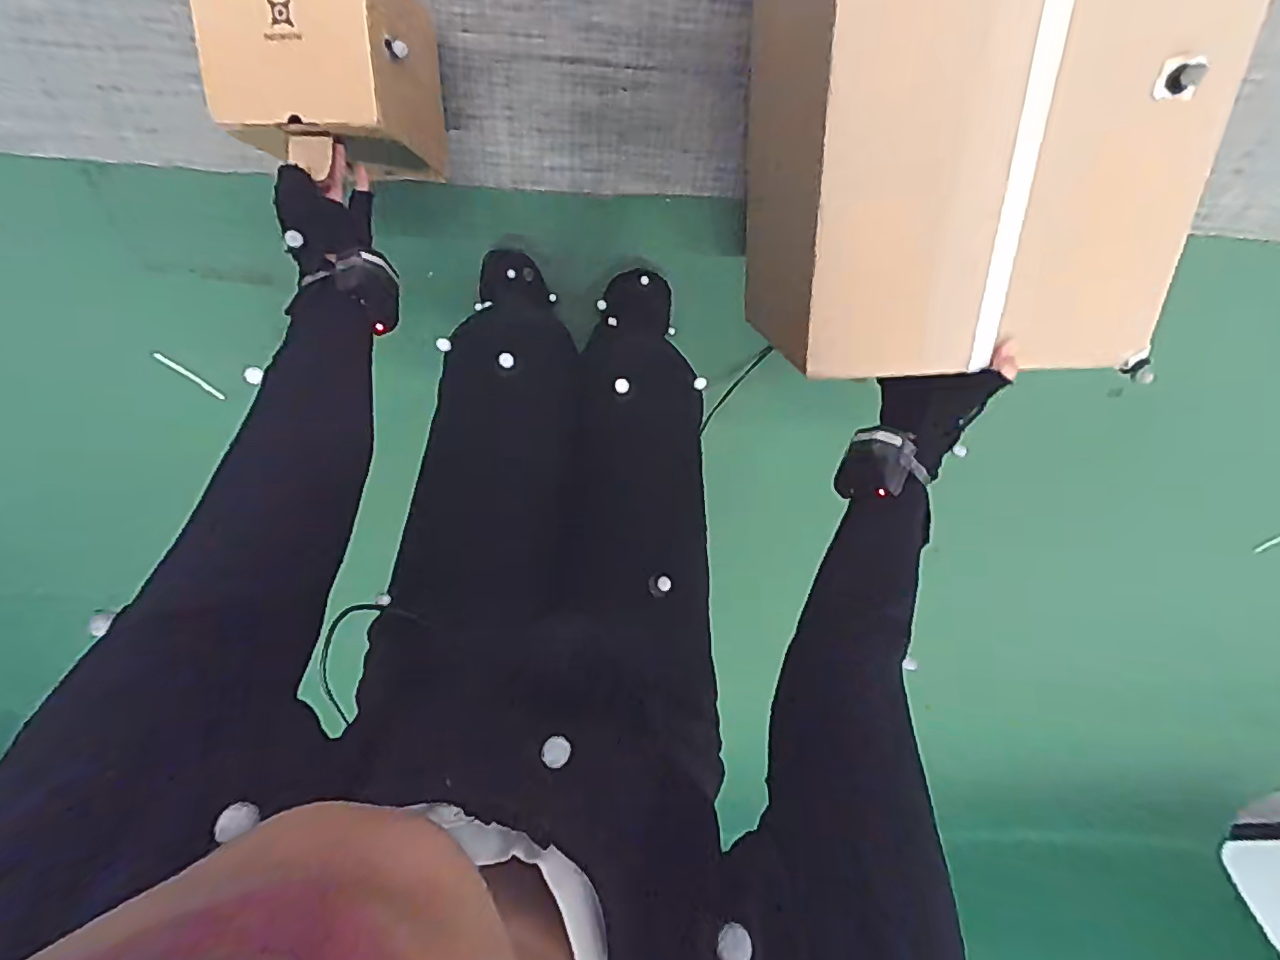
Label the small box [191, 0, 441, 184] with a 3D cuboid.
[{"bbox_3d":[-0.330,-0.437,0.580,0.168,0.176,0.179,0,106,2],"label":"small box"}]
